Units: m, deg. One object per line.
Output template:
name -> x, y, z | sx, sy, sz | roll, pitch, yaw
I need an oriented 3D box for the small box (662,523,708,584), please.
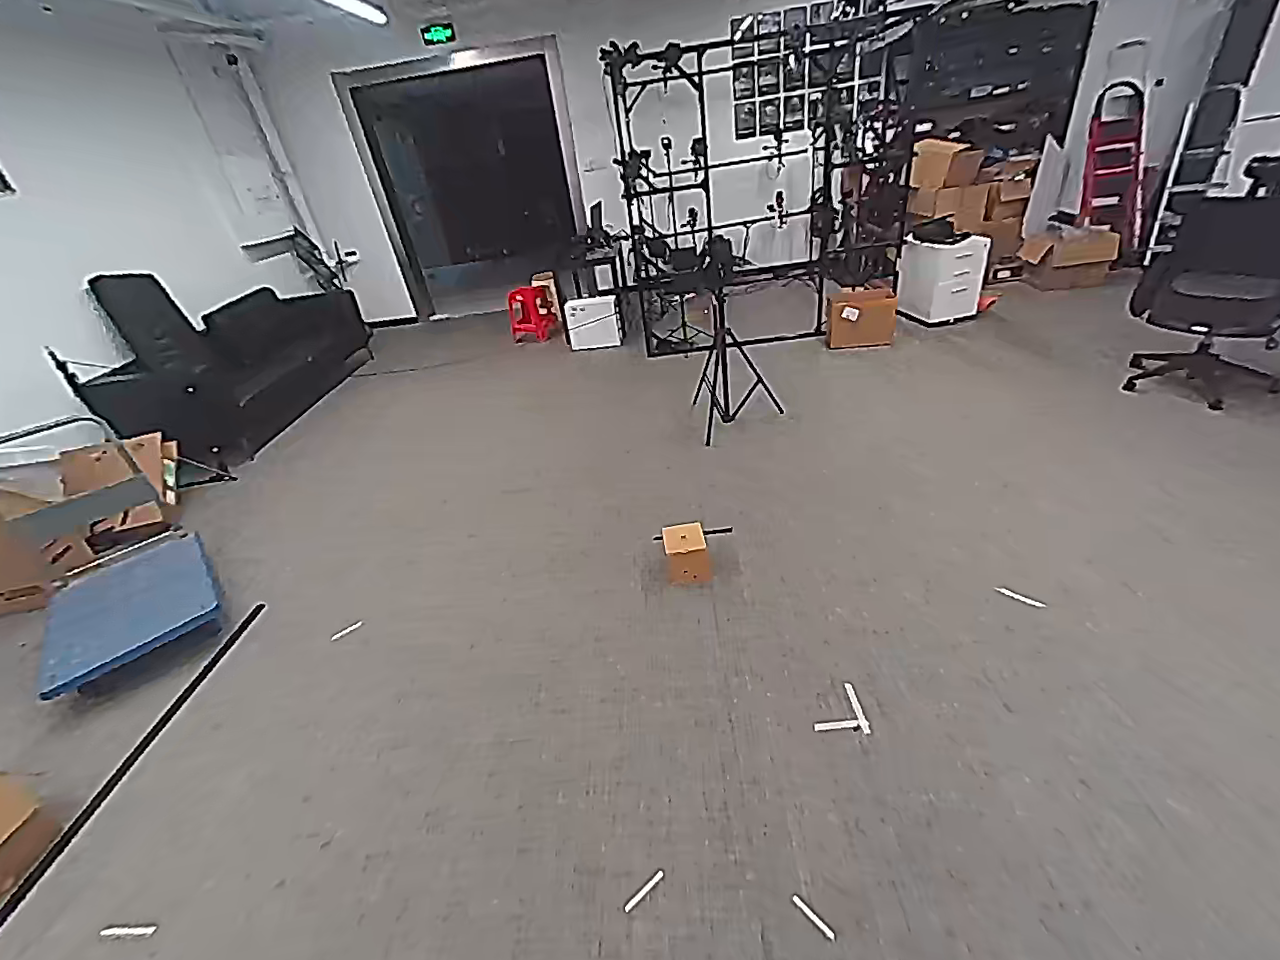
small box -> 0.187, 0.307, 2.250 | 0.168, 0.176, 0.179 | -9, 32, 0
